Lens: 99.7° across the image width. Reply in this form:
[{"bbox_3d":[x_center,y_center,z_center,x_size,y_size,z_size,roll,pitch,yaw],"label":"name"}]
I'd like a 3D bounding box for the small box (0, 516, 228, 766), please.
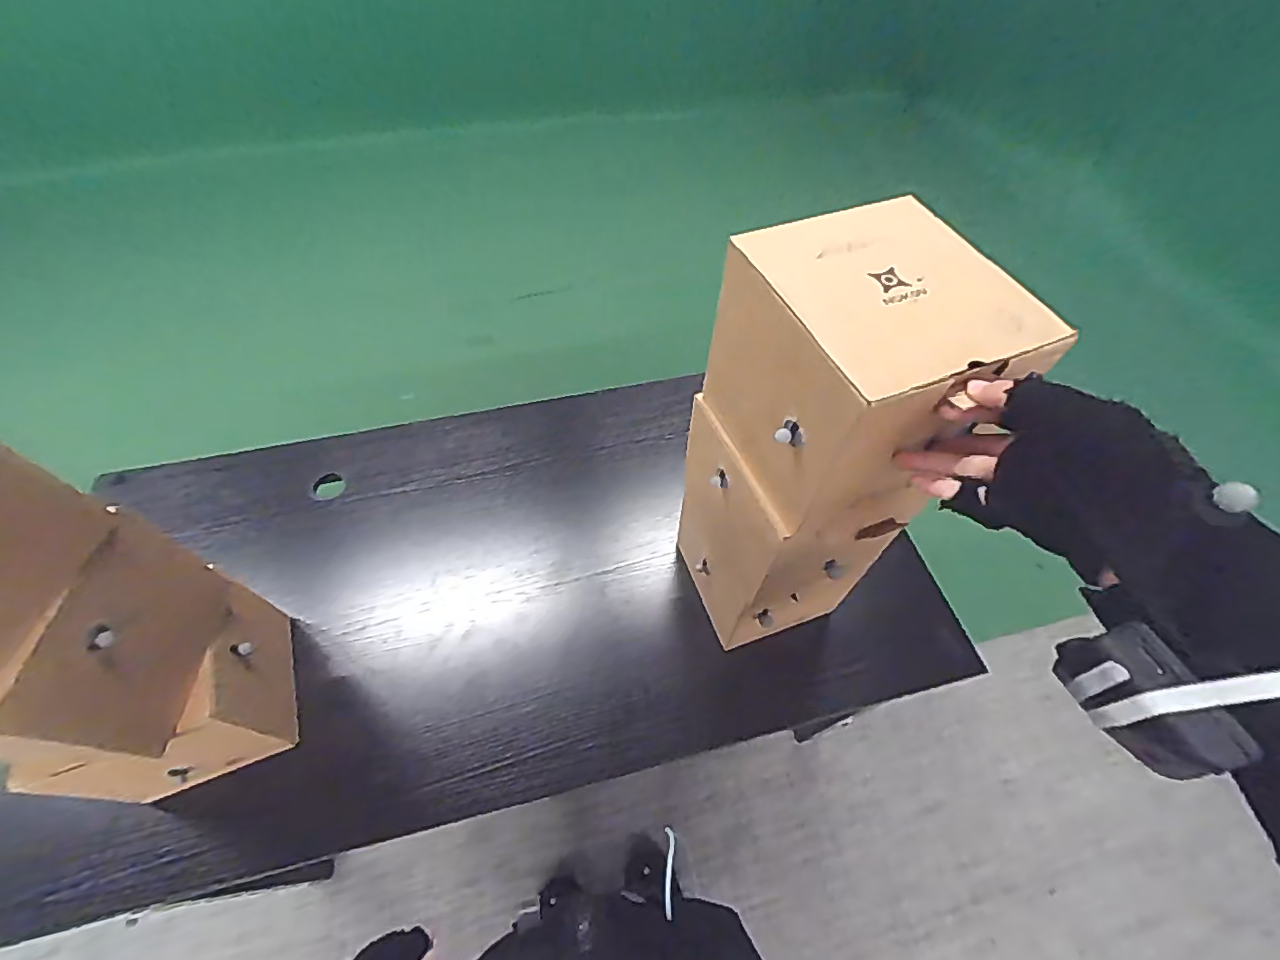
[{"bbox_3d":[-0.514,0.147,0.472,0.168,0.176,0.179,0,56,-2],"label":"small box"}]

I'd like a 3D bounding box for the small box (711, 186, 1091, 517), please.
[{"bbox_3d":[0.171,-0.090,0.423,0.168,0.176,0.179,-19,59,-13],"label":"small box"}]

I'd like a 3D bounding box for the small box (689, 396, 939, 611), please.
[{"bbox_3d":[0.161,0.010,0.574,0.168,0.176,0.179,-19,59,-12],"label":"small box"}]

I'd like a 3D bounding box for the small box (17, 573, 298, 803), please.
[{"bbox_3d":[-0.514,0.237,0.609,0.168,0.176,0.179,-18,60,-13],"label":"small box"}]

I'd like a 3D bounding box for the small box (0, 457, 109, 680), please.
[{"bbox_3d":[-0.515,0.051,0.338,0.168,0.176,0.179,9,58,3],"label":"small box"}]
